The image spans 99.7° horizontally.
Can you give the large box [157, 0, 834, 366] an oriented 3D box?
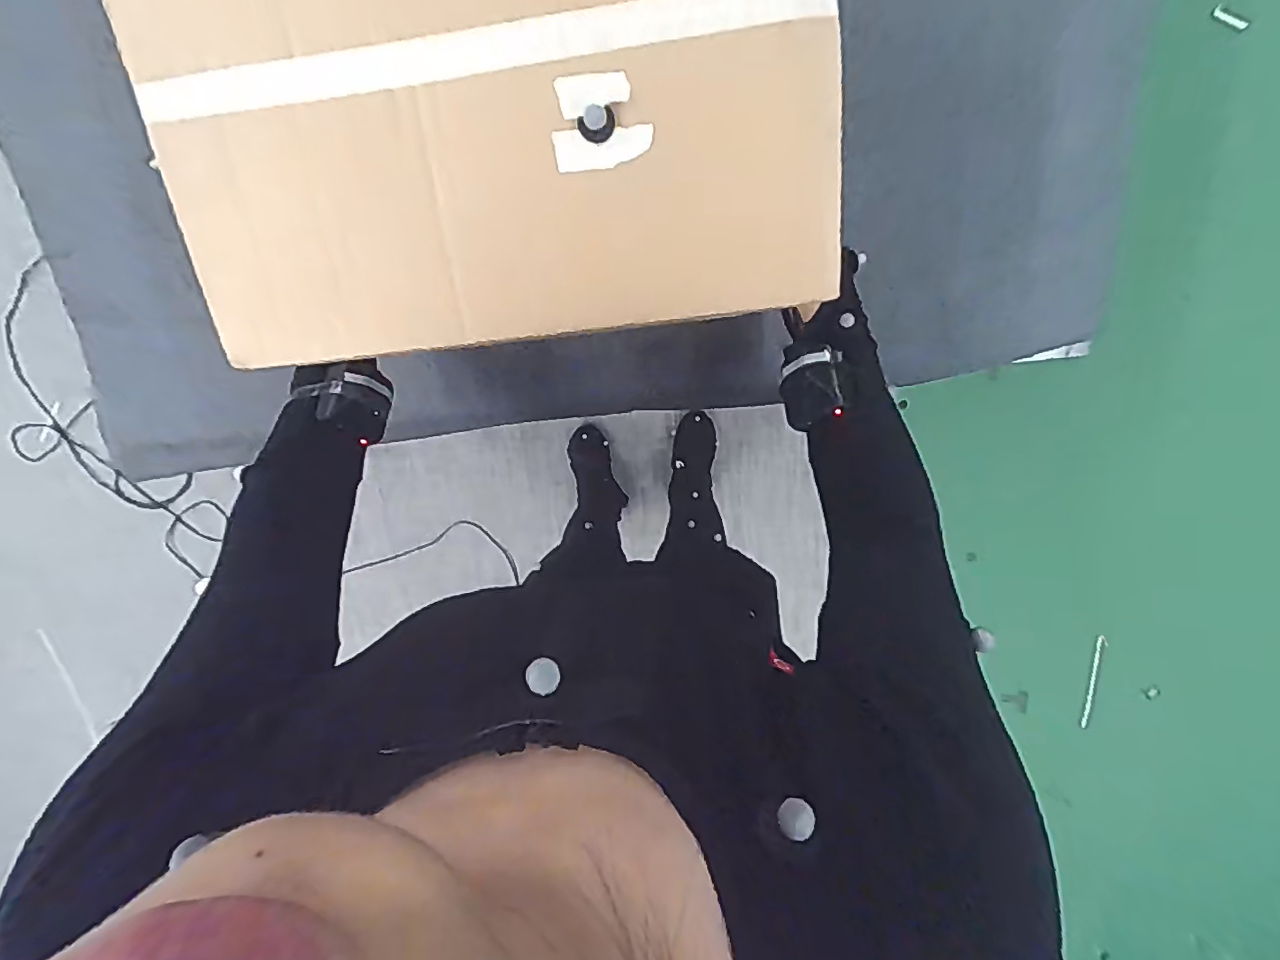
[{"bbox_3d":[-0.084,-0.289,0.472,0.408,0.320,0.320,-6,106,4],"label":"large box"}]
